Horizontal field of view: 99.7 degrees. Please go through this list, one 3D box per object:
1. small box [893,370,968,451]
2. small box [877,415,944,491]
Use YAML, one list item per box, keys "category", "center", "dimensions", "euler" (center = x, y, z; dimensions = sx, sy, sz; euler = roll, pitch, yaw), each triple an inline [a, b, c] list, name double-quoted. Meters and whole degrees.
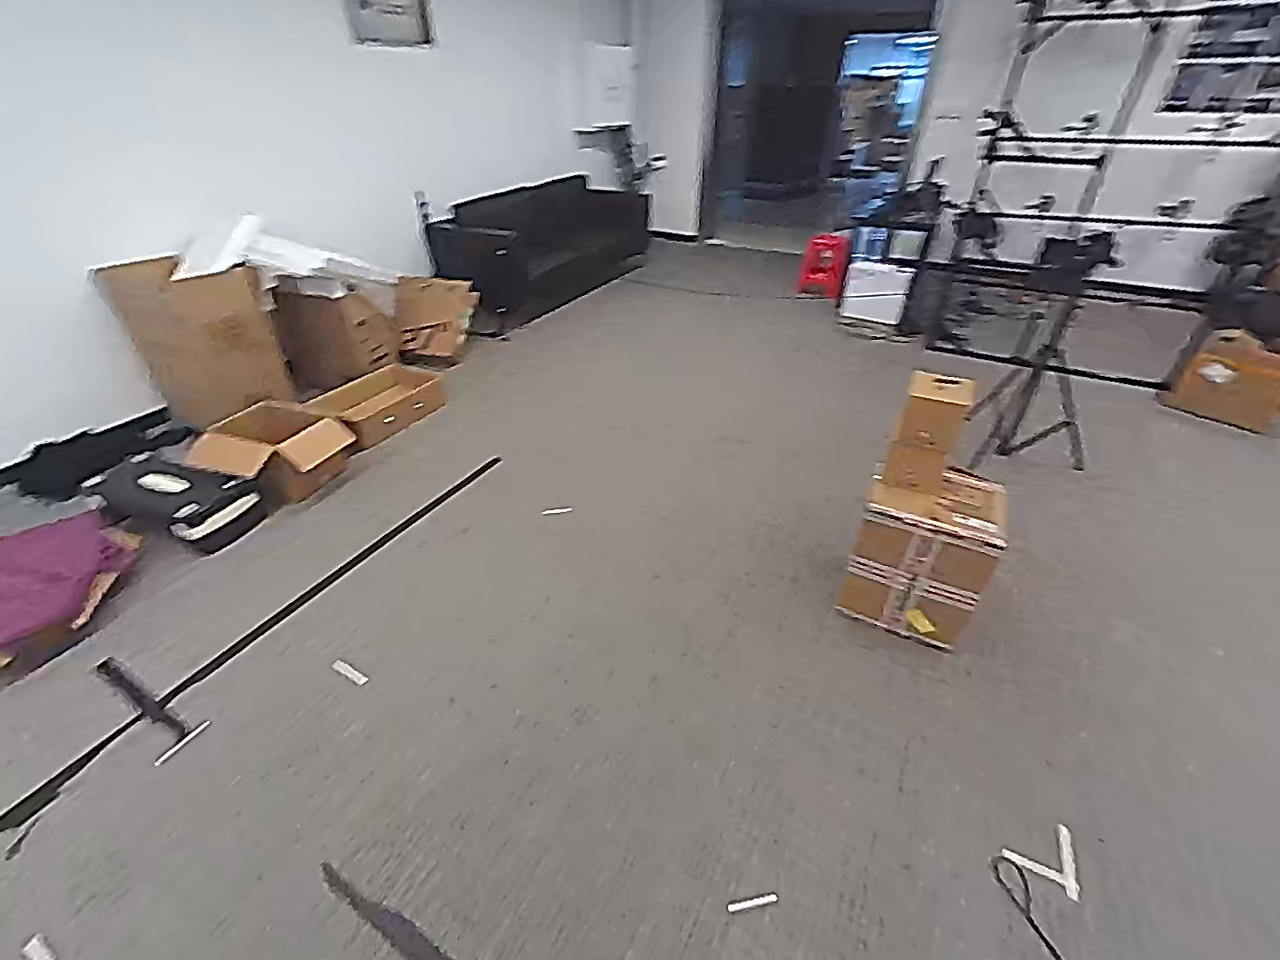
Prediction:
- category: "small box"
  center: [0.896, -0.217, 1.674]
  dimensions: [0.168, 0.176, 0.179]
  euler: [16, 41, 24]
- category: "small box"
  center: [0.892, -0.090, 1.781]
  dimensions: [0.168, 0.176, 0.179]
  euler: [13, 40, 21]
